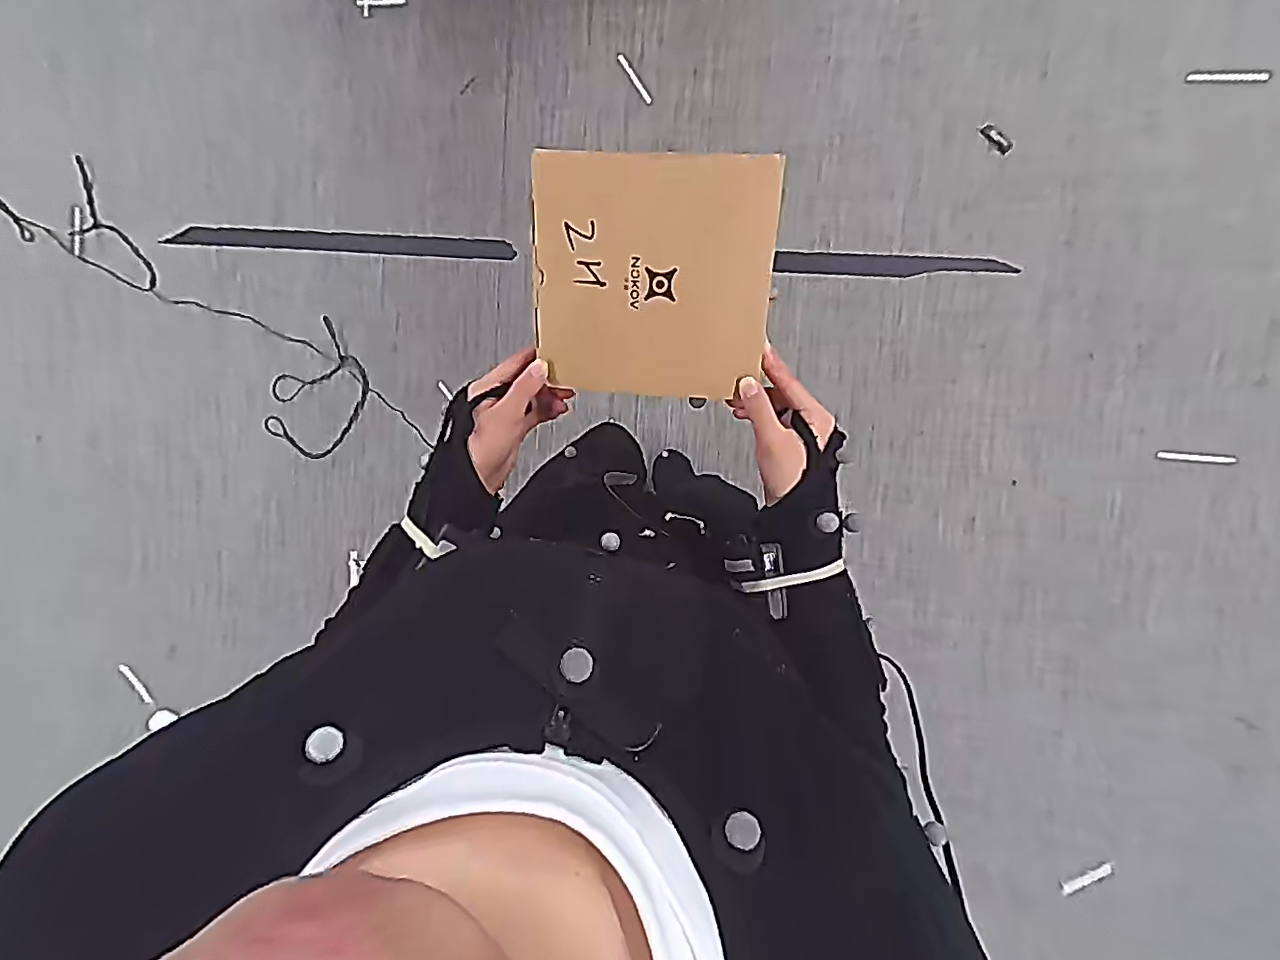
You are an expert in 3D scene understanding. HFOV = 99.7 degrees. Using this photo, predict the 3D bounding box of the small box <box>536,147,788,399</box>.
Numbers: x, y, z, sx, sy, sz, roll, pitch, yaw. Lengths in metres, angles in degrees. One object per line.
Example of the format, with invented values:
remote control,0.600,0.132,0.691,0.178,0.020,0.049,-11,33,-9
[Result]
small box,0.019,-0.174,0.468,0.179,0.176,0.168,6,111,6
